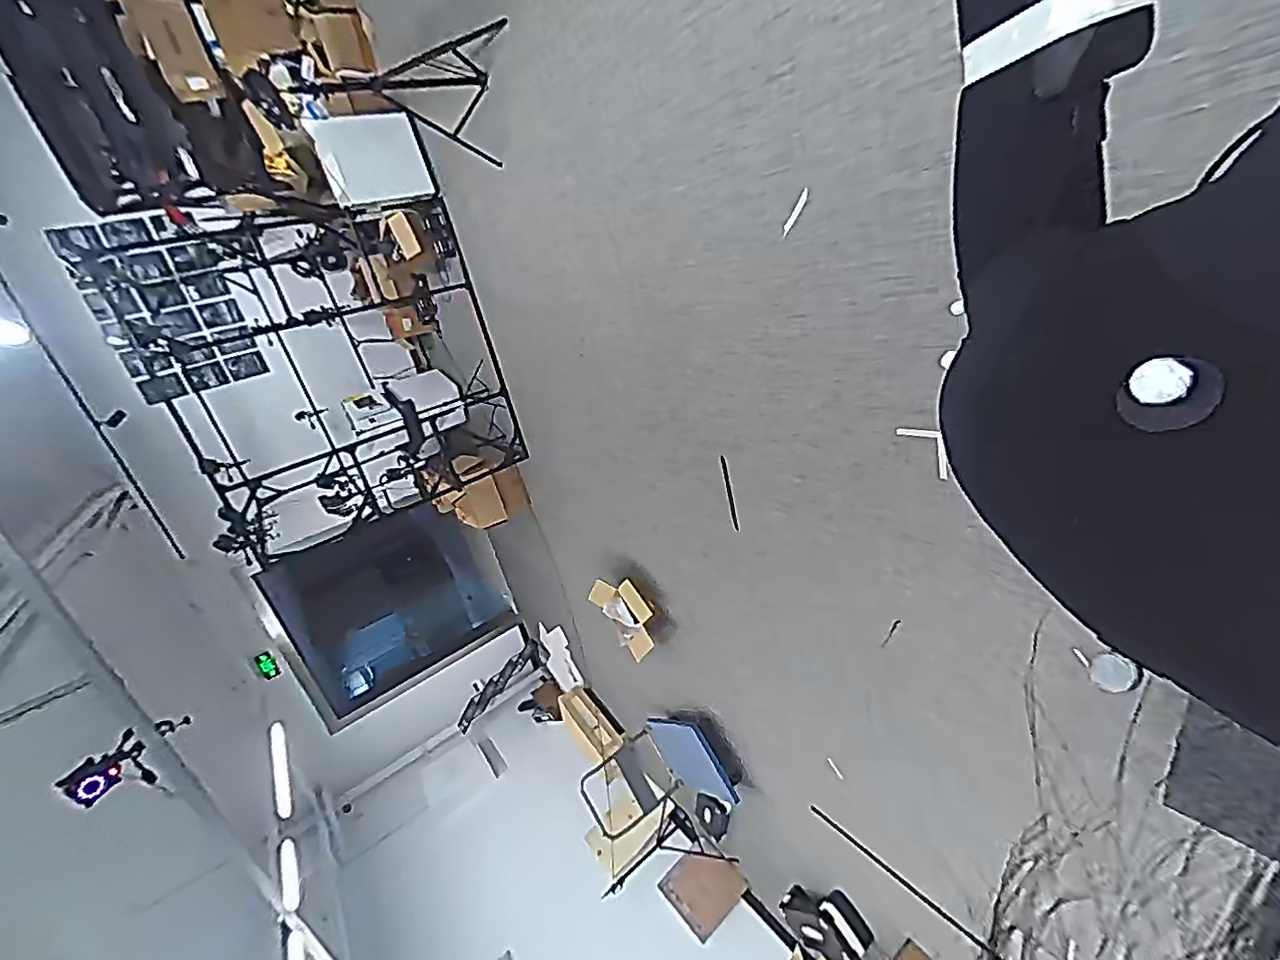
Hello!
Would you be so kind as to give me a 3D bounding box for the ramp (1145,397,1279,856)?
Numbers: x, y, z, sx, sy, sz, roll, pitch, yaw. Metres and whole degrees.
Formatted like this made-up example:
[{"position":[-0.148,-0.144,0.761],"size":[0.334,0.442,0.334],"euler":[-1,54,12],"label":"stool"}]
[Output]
[{"position":[1.378,0.352,1.032],"size":[0.509,0.206,0.991],"euler":[17,127,53],"label":"ramp"}]
